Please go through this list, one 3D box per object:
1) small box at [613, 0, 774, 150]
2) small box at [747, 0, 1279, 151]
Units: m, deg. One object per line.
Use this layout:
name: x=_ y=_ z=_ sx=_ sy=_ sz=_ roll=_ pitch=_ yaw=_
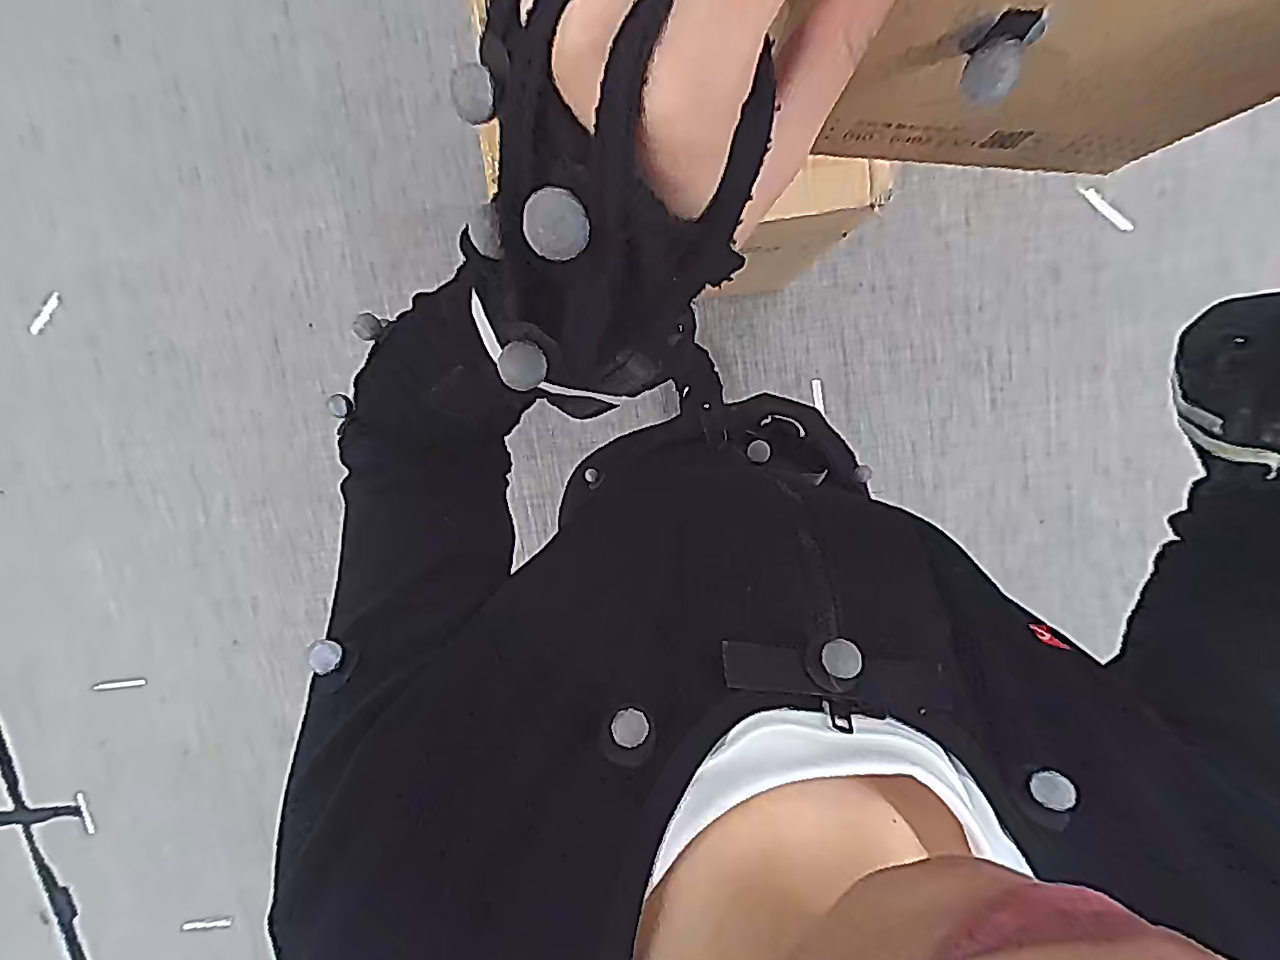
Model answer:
small box: x=0.062 y=-0.492 z=0.598 sx=0.179 sy=0.176 sz=0.168 roll=-6 pitch=99 yaw=2
small box: x=0.127 y=-0.212 z=0.140 sx=0.168 sy=0.176 sz=0.179 roll=4 pitch=100 yaw=1
